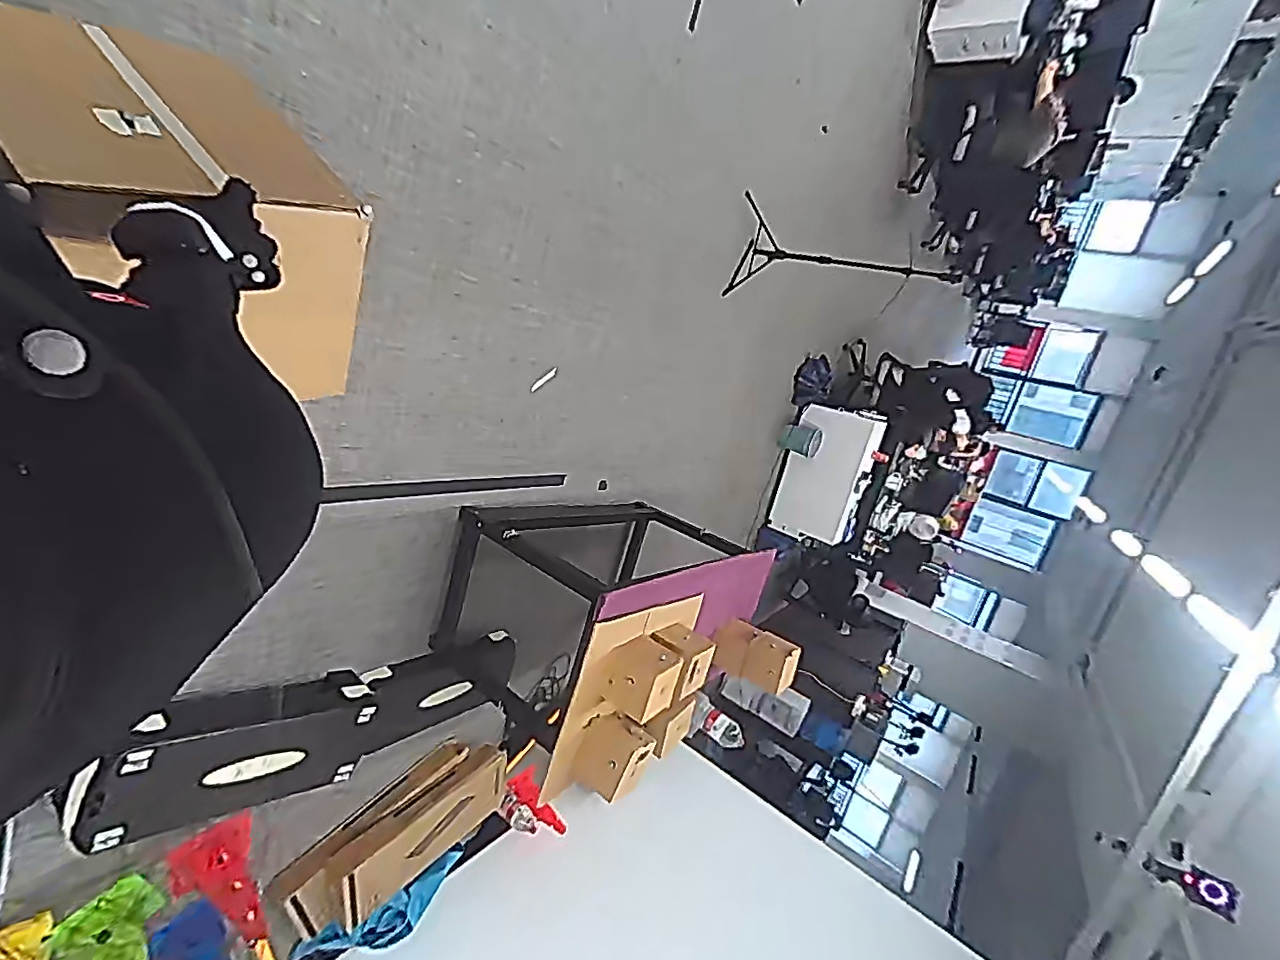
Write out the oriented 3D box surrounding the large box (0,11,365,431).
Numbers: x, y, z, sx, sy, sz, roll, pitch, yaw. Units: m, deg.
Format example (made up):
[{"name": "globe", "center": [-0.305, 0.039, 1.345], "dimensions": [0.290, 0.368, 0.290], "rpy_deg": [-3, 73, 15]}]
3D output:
[{"name": "large box", "center": [-0.650, -0.334, 0.733], "dimensions": [0.320, 0.408, 0.320], "rpy_deg": [-27, 158, -48]}]
